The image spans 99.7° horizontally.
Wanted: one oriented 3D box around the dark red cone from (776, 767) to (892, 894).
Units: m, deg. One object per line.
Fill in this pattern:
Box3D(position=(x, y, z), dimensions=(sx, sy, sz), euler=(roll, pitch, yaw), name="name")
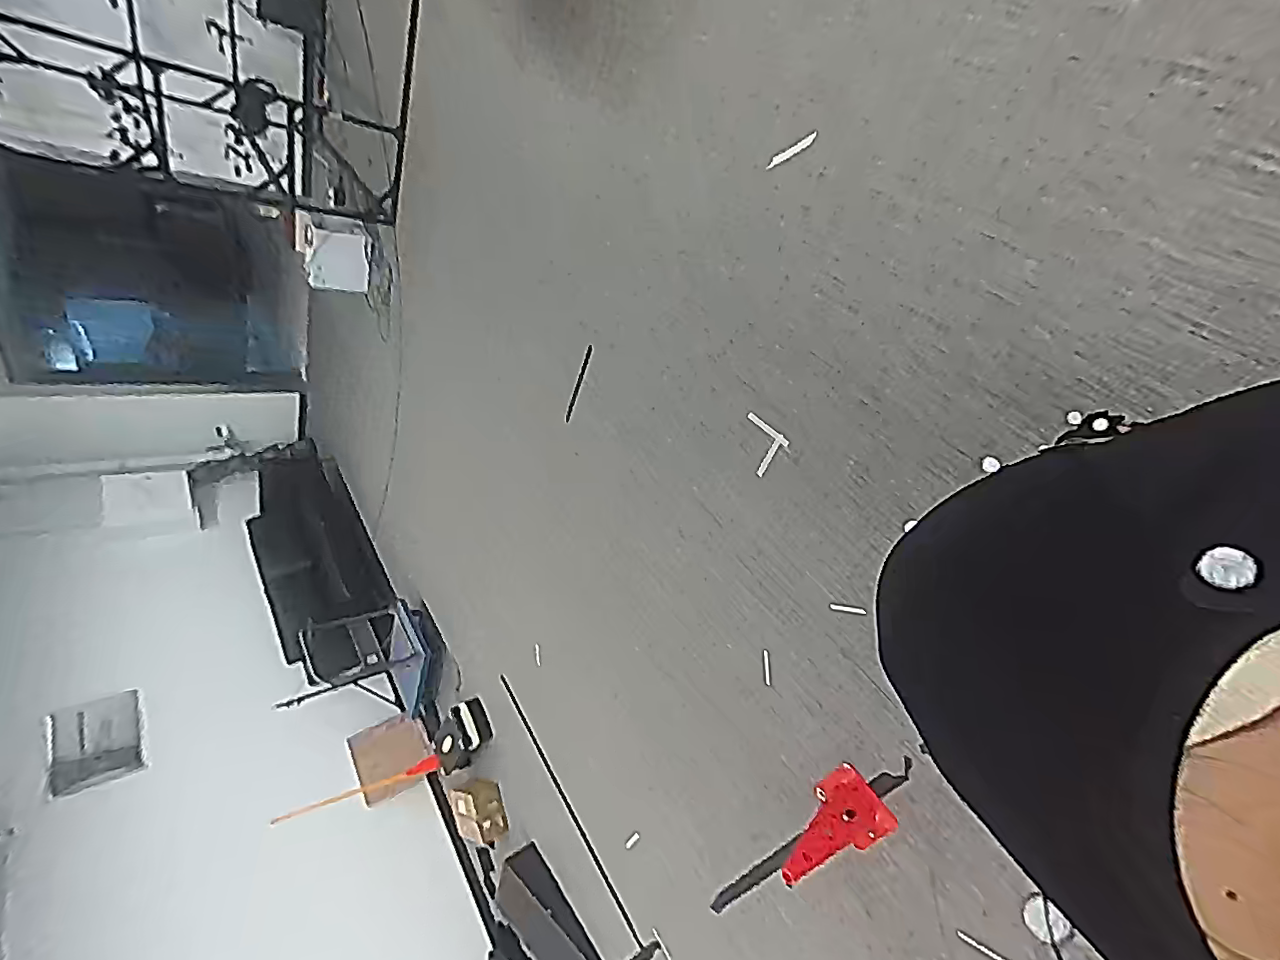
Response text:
Box3D(position=(0.495, 0.993, 1.483), dimensions=(0.201, 0.394, 0.202), euler=(48, 129, 31), name="dark red cone")
